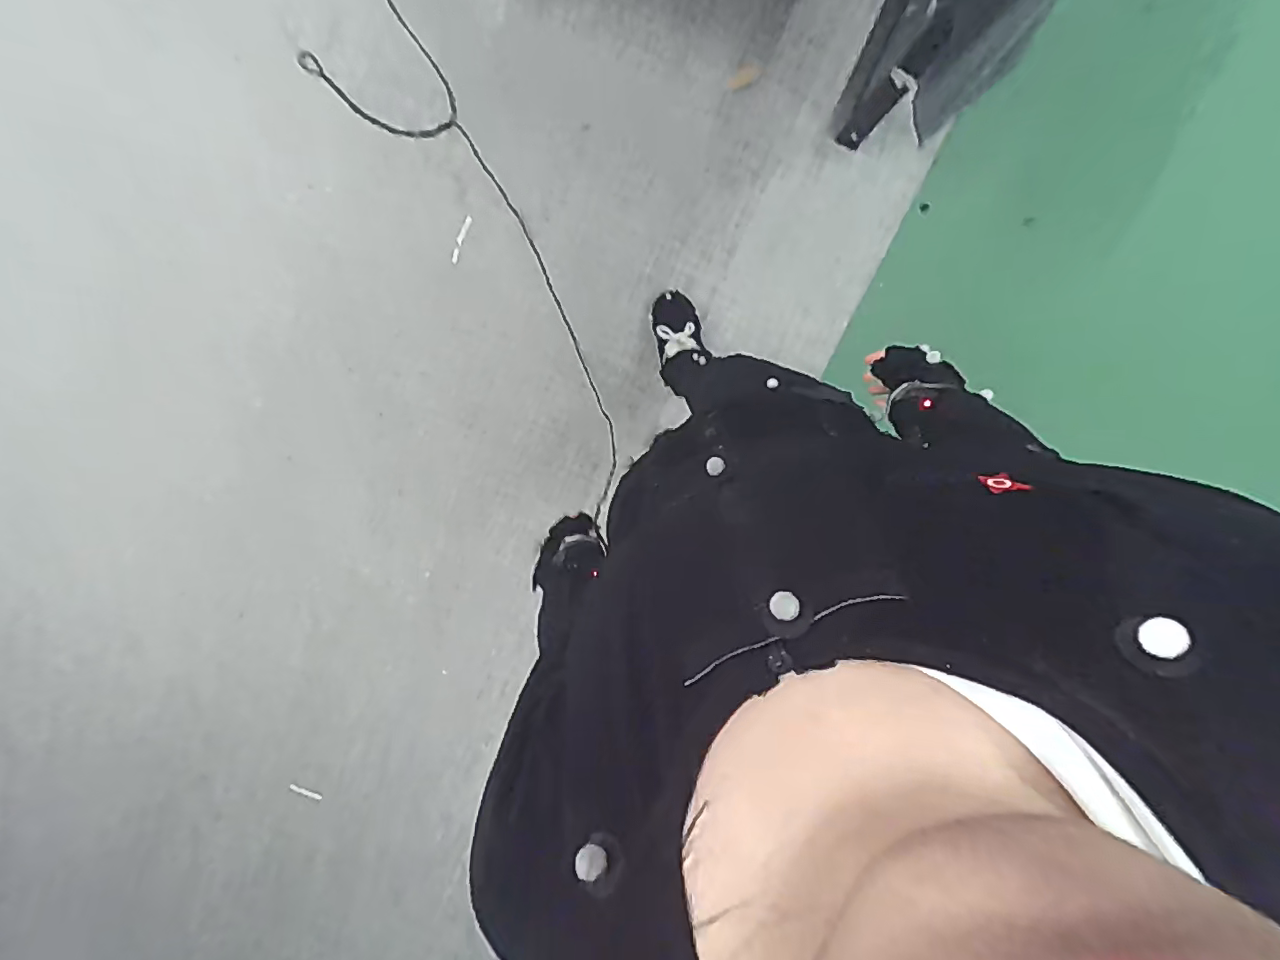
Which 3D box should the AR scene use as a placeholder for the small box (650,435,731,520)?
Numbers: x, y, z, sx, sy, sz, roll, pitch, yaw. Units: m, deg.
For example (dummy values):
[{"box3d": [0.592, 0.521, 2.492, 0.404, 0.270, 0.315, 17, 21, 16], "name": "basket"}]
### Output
[{"box3d": [0.130, -0.011, 1.411, 0.179, 0.176, 0.168, 10, 111, 18], "name": "small box"}]
